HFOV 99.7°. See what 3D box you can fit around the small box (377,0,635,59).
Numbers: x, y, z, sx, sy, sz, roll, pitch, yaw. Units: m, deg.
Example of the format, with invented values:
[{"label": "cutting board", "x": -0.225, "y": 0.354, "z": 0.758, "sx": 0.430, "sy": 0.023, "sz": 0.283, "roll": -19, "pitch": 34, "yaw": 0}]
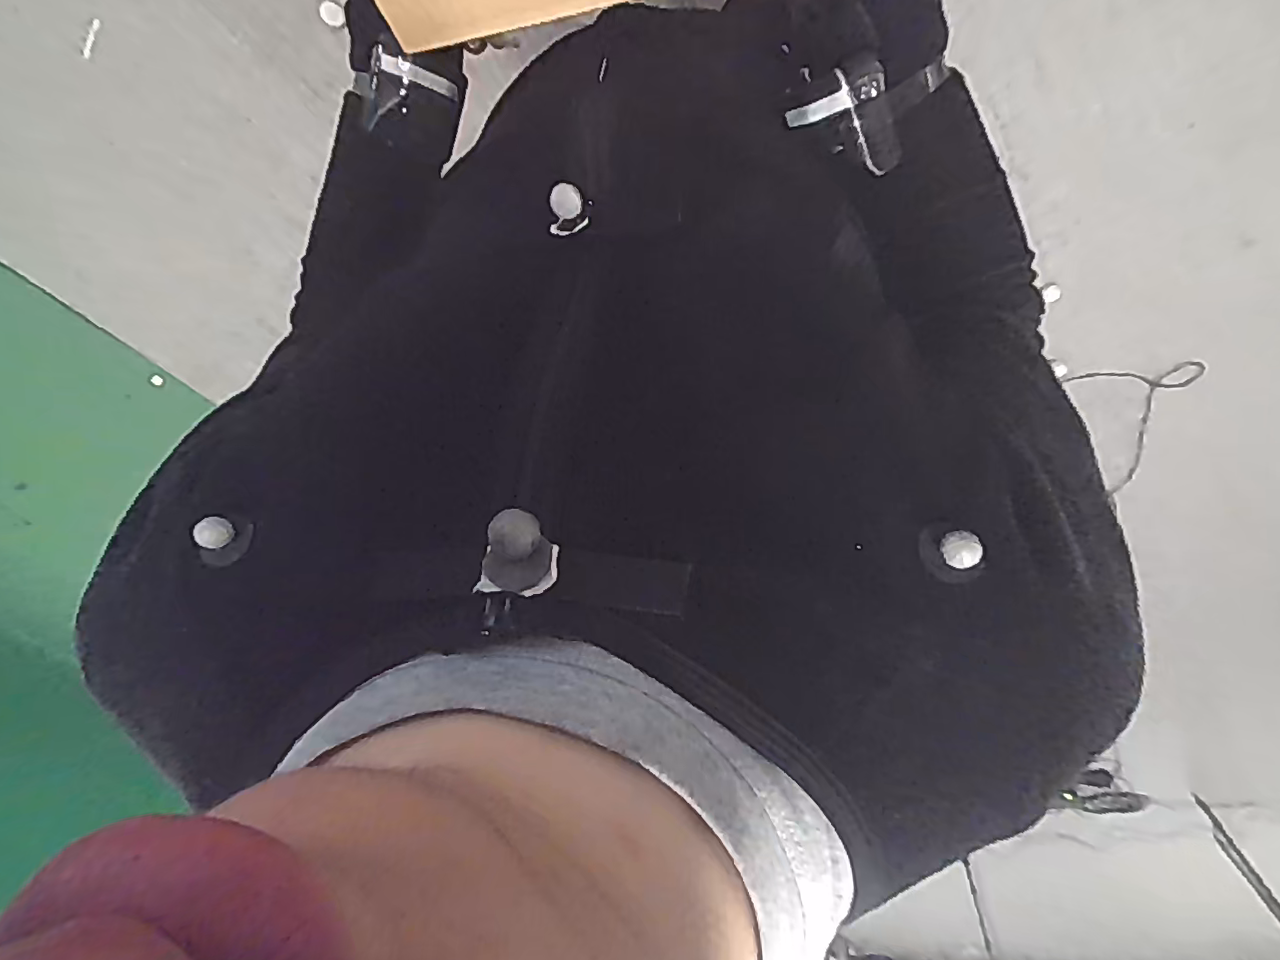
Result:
[{"label": "small box", "x": -0.058, "y": -0.343, "z": 0.240, "sx": 0.179, "sy": 0.176, "sz": 0.168, "roll": 2, "pitch": 155, "yaw": 20}]
